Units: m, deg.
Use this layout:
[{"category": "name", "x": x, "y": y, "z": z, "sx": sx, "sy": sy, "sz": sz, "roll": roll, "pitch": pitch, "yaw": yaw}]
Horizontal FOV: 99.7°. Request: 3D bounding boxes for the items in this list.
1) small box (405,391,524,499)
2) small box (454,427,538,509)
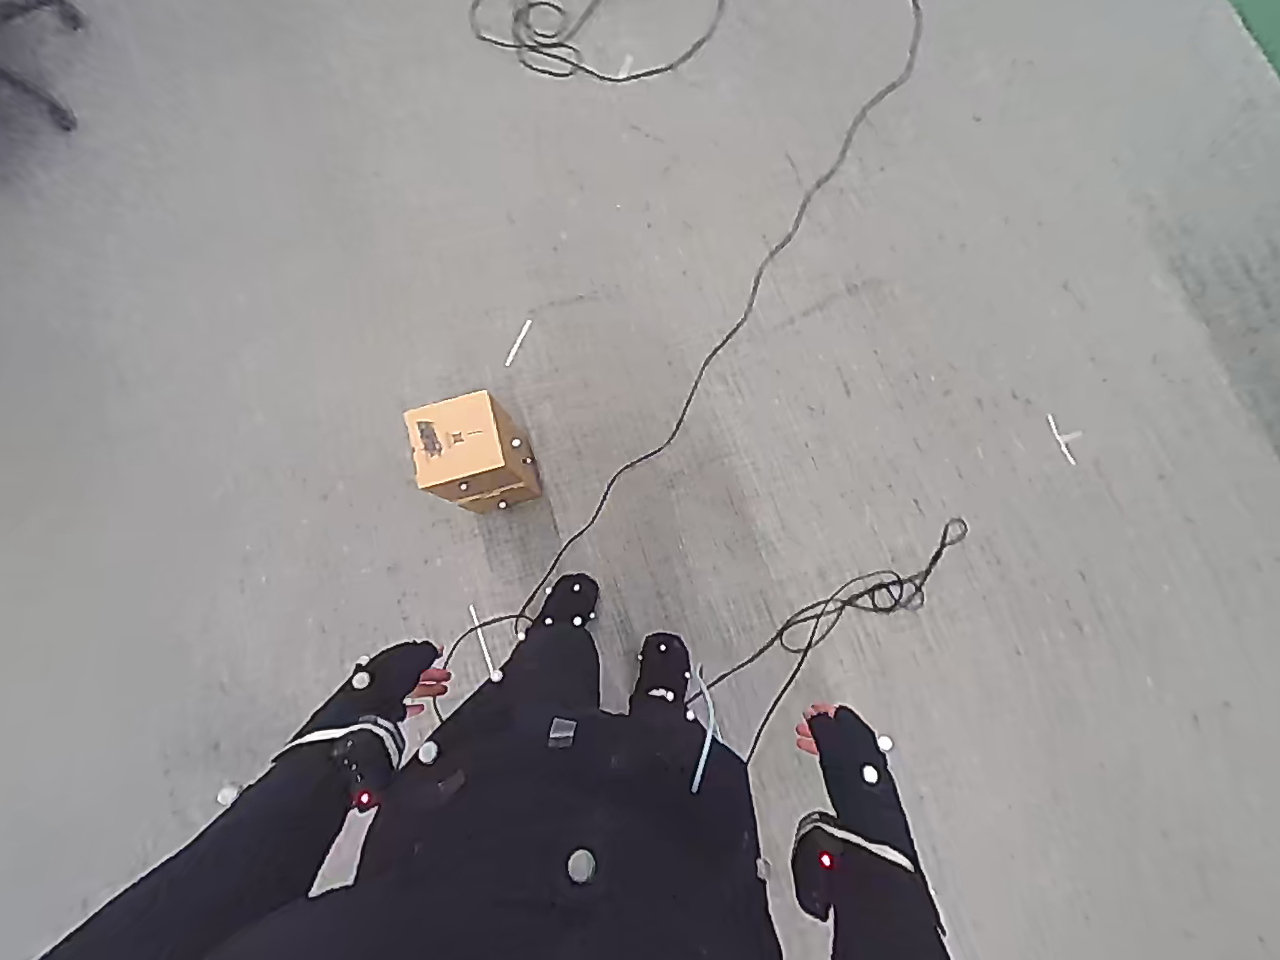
[{"category": "small box", "x": -0.365, "y": -0.066, "z": 1.145, "sx": 0.179, "sy": 0.176, "sz": 0.168, "roll": -16, "pitch": 80, "yaw": -1}, {"category": "small box", "x": -0.357, "y": -0.032, "z": 1.306, "sx": 0.168, "sy": 0.176, "sz": 0.179, "roll": -17, "pitch": 81, "yaw": -1}]
